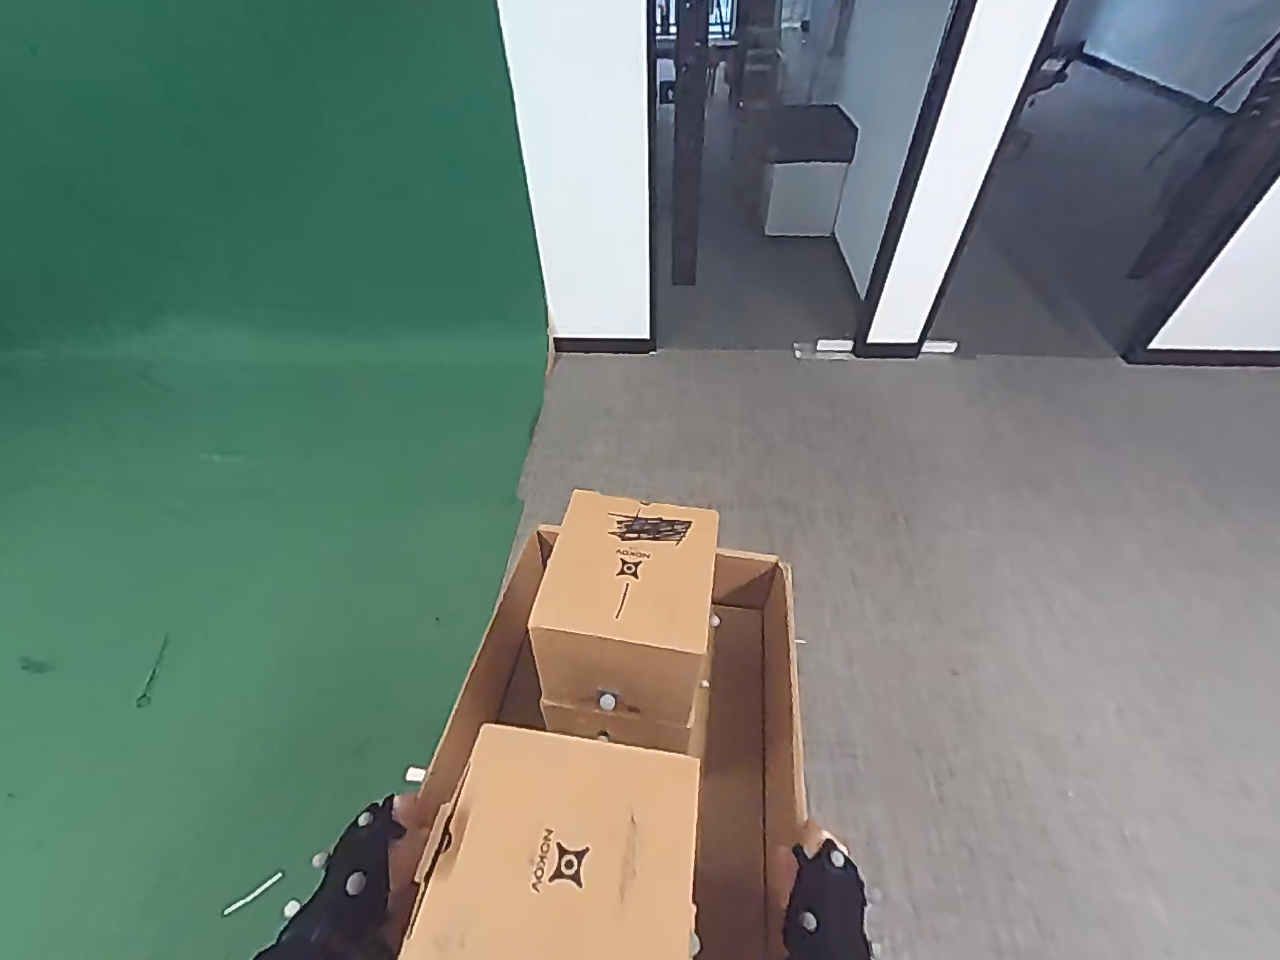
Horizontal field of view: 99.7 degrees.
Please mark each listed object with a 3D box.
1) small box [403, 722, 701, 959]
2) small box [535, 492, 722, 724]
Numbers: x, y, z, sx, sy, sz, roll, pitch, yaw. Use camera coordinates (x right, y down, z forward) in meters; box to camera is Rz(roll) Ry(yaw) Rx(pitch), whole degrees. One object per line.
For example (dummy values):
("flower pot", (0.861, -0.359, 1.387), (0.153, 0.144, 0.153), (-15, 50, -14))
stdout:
("small box", (-0.053, 0.319, 0.428), (0.179, 0.176, 0.168), (8, 44, 4))
("small box", (-0.009, 0.144, 0.608), (0.168, 0.176, 0.179), (9, 46, 6))
